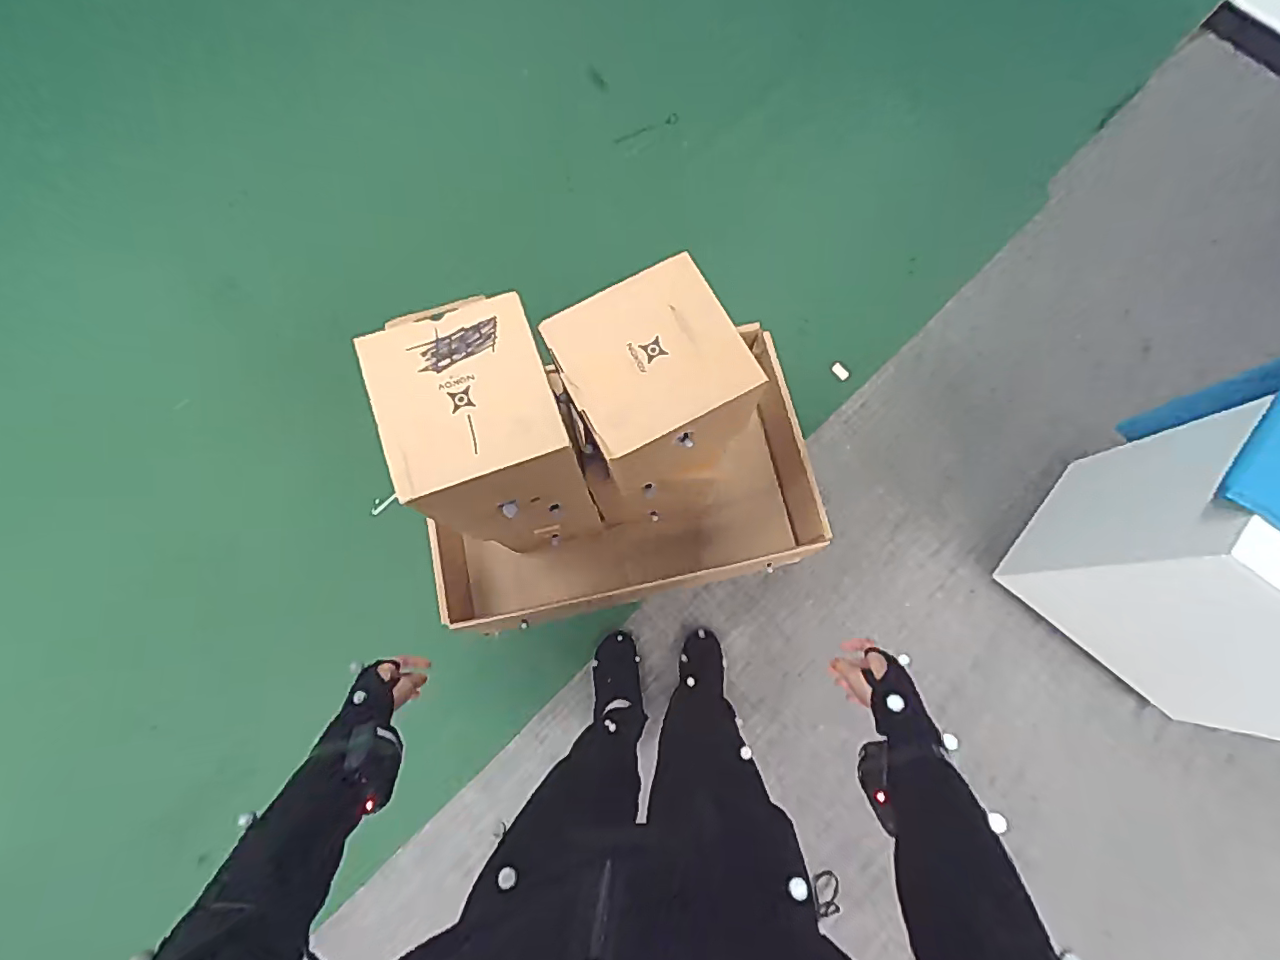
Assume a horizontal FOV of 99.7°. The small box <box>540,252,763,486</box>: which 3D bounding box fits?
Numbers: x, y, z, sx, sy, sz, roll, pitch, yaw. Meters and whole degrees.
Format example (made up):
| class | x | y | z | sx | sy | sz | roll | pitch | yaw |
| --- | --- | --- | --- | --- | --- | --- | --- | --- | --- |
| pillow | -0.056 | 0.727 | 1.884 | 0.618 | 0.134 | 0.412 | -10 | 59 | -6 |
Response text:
| class | x | y | z | sx | sy | sz | roll | pitch | yaw |
| --- | --- | --- | --- | --- | --- | --- | --- | --- | --- |
| small box | 0.013 | -0.111 | 0.613 | 0.179 | 0.176 | 0.168 | -26 | 77 | -4 |
